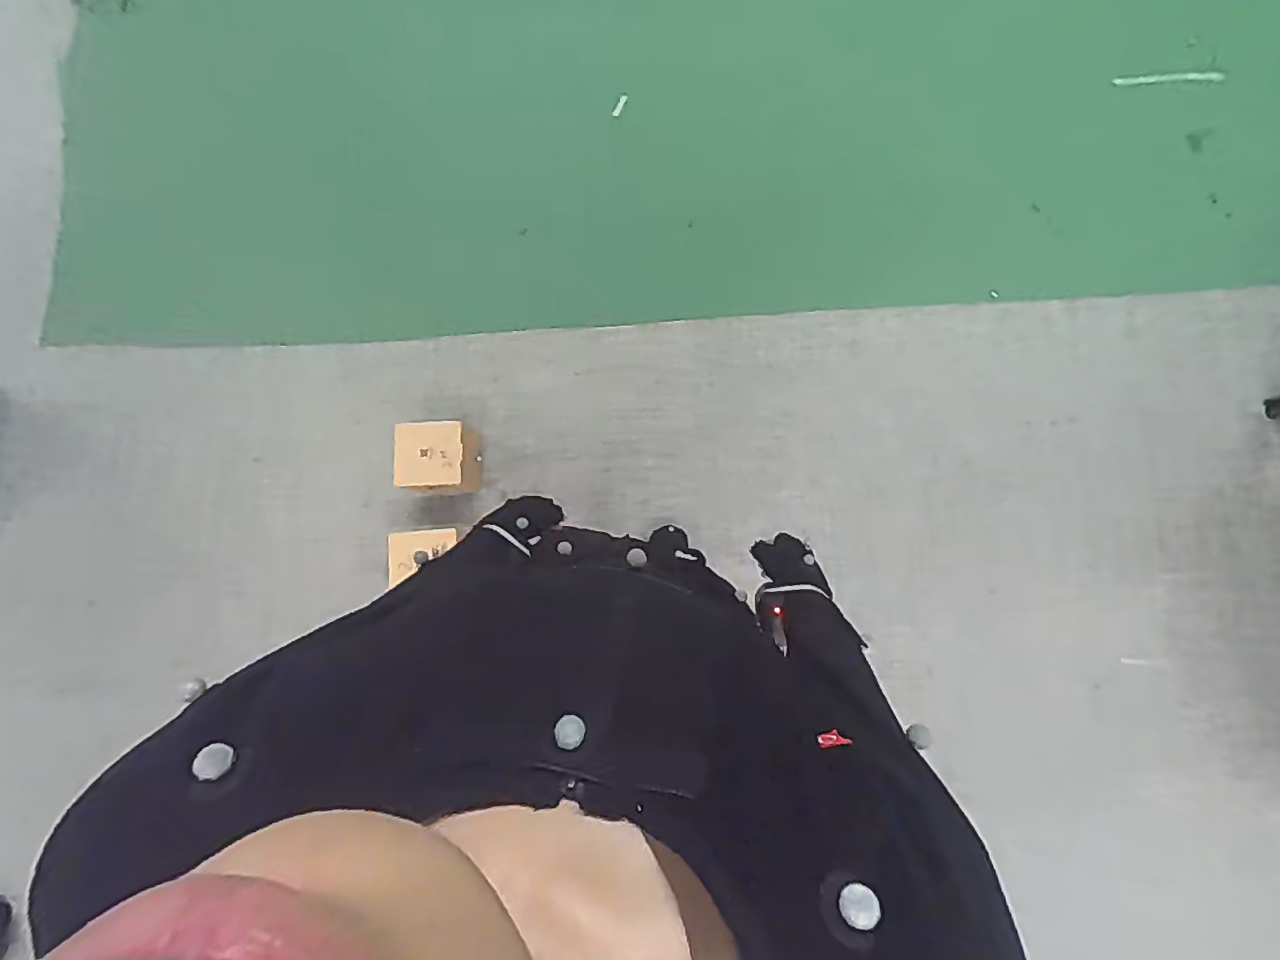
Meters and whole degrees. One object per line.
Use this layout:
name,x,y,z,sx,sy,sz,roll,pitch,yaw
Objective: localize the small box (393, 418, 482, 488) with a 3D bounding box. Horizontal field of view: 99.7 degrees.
small box,-0.542,-0.067,1.459,0.179,0.176,0.168,-2,84,1
